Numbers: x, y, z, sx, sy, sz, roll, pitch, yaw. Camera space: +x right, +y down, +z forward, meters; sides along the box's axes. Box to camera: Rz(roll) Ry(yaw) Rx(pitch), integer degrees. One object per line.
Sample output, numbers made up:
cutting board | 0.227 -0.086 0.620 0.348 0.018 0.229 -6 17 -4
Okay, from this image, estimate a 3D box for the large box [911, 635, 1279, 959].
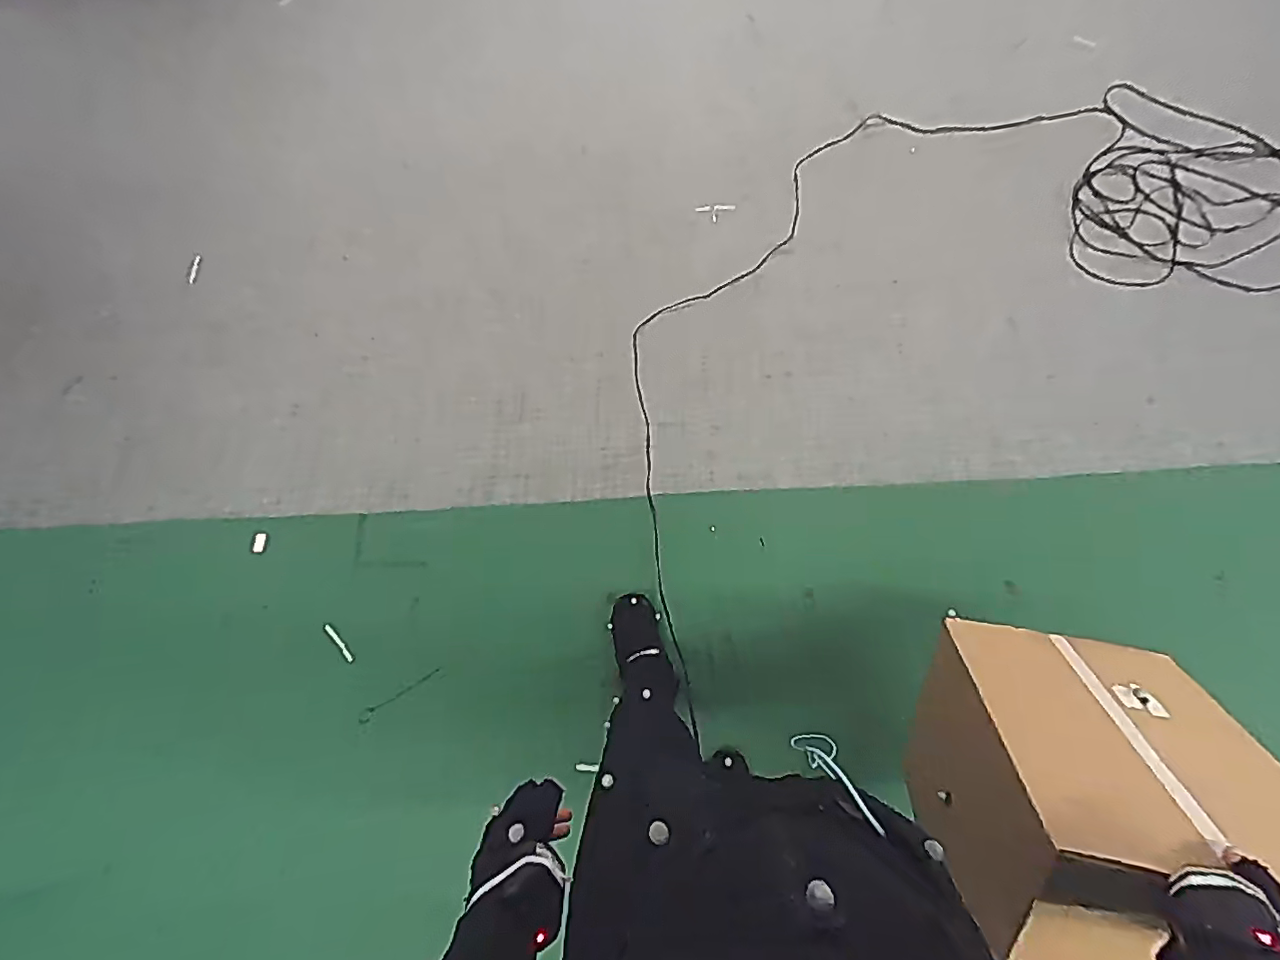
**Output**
large box | 0.586 0.466 0.704 0.320 0.408 0.320 8 109 12
